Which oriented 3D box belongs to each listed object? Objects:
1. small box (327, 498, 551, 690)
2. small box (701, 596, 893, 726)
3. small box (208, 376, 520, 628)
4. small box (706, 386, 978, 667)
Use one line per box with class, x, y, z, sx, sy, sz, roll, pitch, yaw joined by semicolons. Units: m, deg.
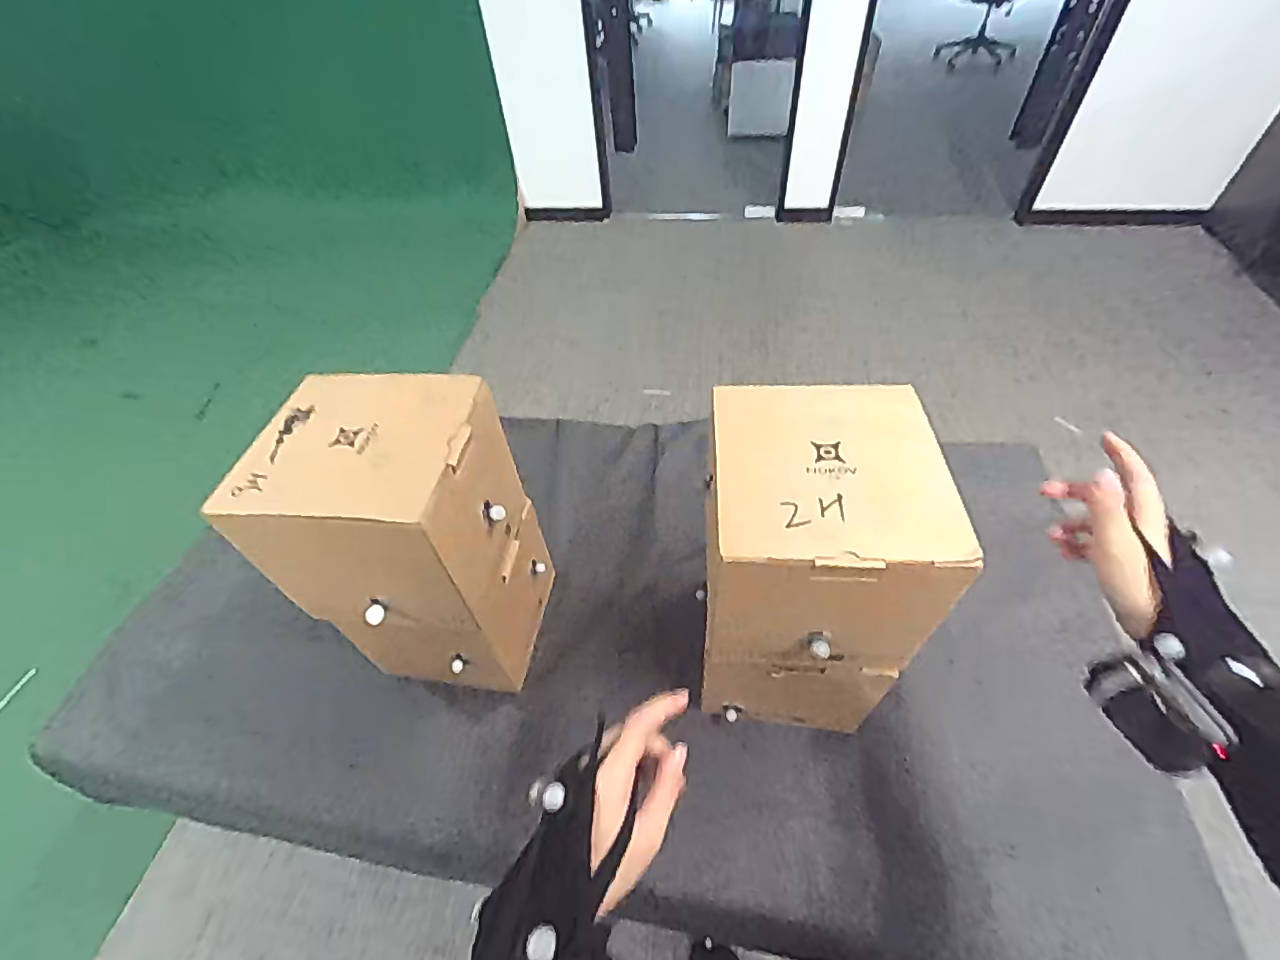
small box;-0.215;0.128;0.631;0.179;0.176;0.168;4;48;8
small box;0.156;0.147;0.586;0.168;0.176;0.179;5;48;8
small box;-0.225;0.023;0.504;0.179;0.176;0.168;3;47;6
small box;0.143;0.038;0.462;0.168;0.176;0.179;0;48;5
